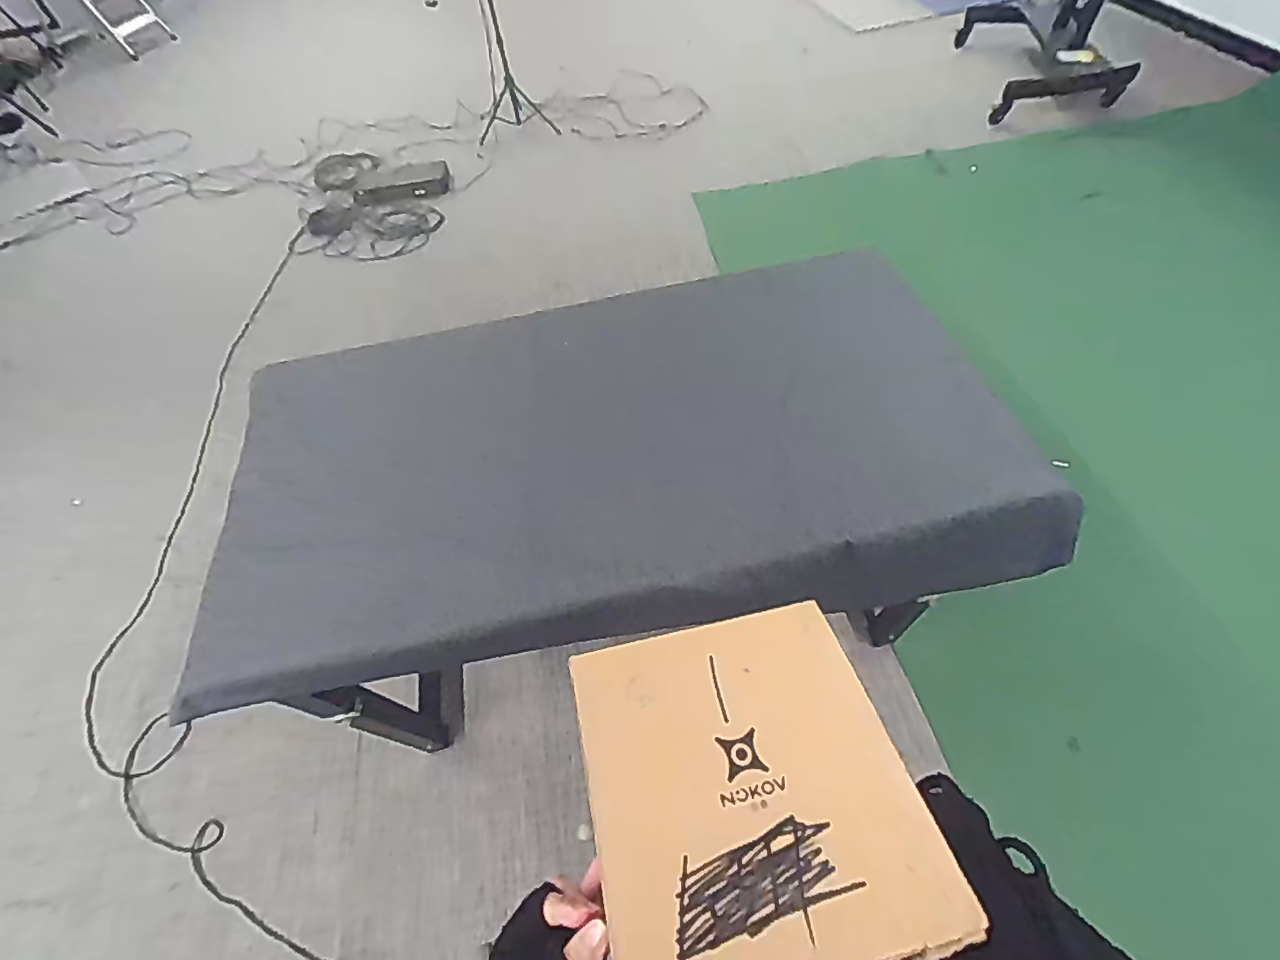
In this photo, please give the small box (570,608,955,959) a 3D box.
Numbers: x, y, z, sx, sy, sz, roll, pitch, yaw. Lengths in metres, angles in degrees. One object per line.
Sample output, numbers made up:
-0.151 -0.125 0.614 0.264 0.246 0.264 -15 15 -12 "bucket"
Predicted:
0.053 0.214 0.353 0.168 0.176 0.179 -9 46 -8 "small box"
